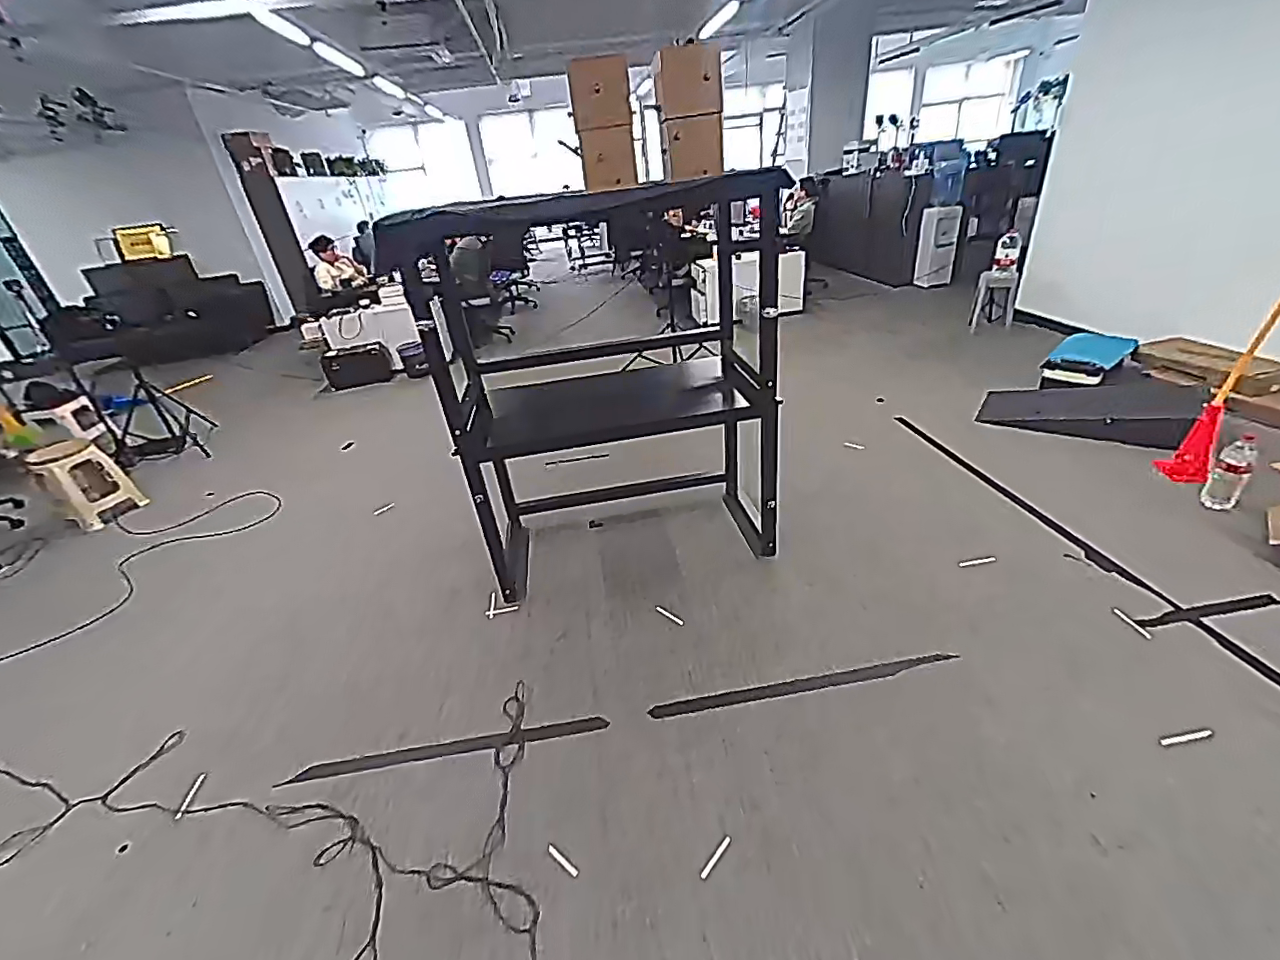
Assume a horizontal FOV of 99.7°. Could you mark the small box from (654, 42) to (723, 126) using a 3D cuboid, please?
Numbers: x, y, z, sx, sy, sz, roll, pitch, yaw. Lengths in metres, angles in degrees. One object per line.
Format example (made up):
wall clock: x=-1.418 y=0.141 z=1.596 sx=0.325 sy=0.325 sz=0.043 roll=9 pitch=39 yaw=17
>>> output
small box: x=0.144 y=-1.165 z=1.602 sx=0.179 sy=0.176 sz=0.168 roll=-10 pitch=28 yaw=-2

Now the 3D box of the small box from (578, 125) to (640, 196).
small box: x=-0.095 y=-0.991 z=1.686 sx=0.168 sy=0.176 sz=0.179 roll=-8 pitch=29 yaw=-1

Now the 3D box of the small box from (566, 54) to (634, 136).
small box: x=-0.114 y=-1.129 z=1.598 sx=0.179 sy=0.176 sz=0.168 roll=-9 pitch=28 yaw=0
